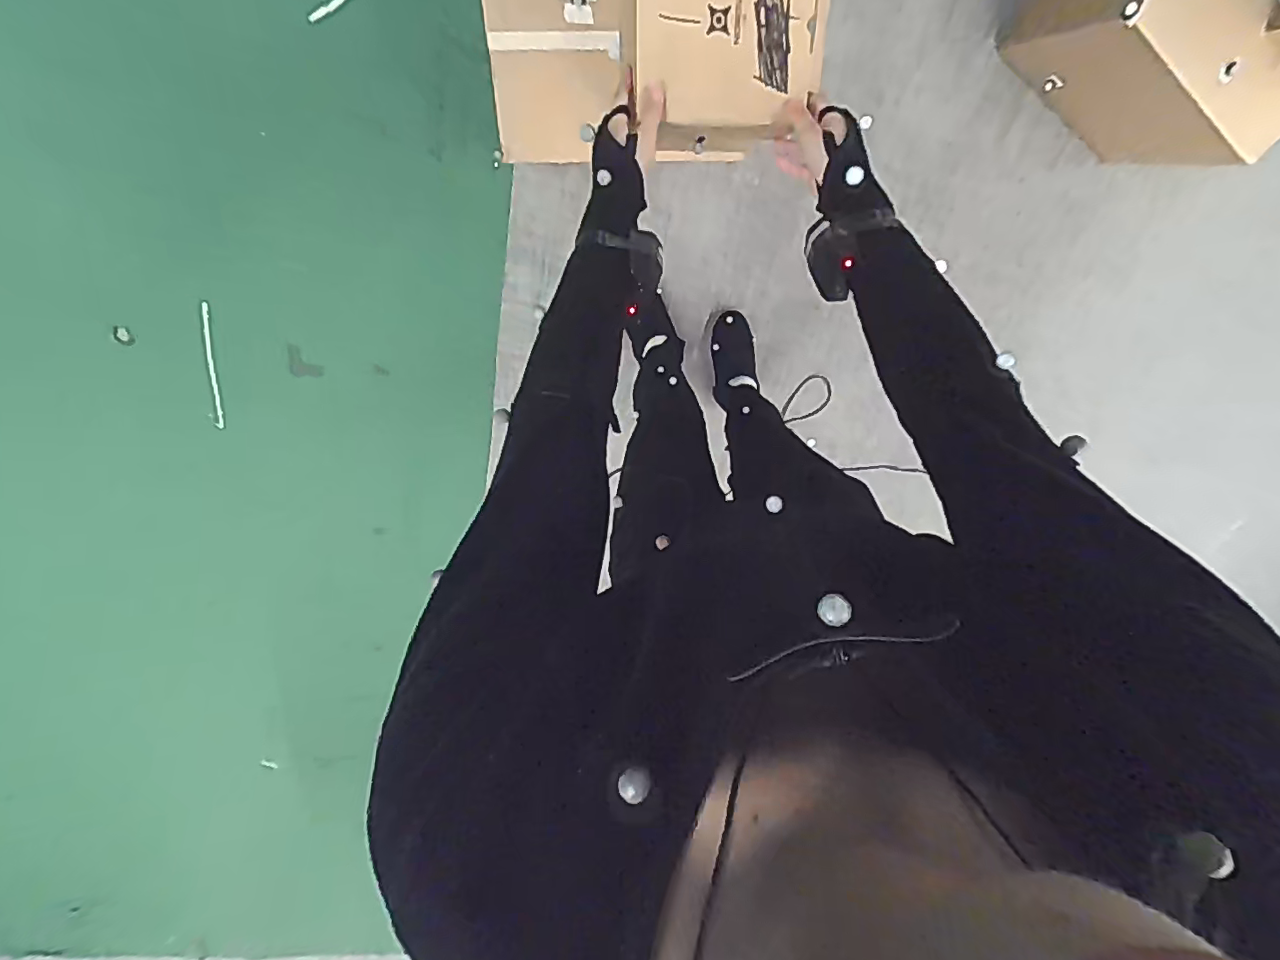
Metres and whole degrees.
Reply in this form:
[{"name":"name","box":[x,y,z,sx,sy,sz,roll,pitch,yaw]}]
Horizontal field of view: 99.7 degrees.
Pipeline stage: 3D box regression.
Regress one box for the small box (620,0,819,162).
[{"name":"small box","box":[0.073,-0.452,0.583,0.179,0.176,0.168,-3,112,-6]}]

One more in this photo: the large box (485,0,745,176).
[{"name":"large box","box":[-0.033,-0.721,0.950,0.408,0.320,0.320,-2,120,-3]}]
